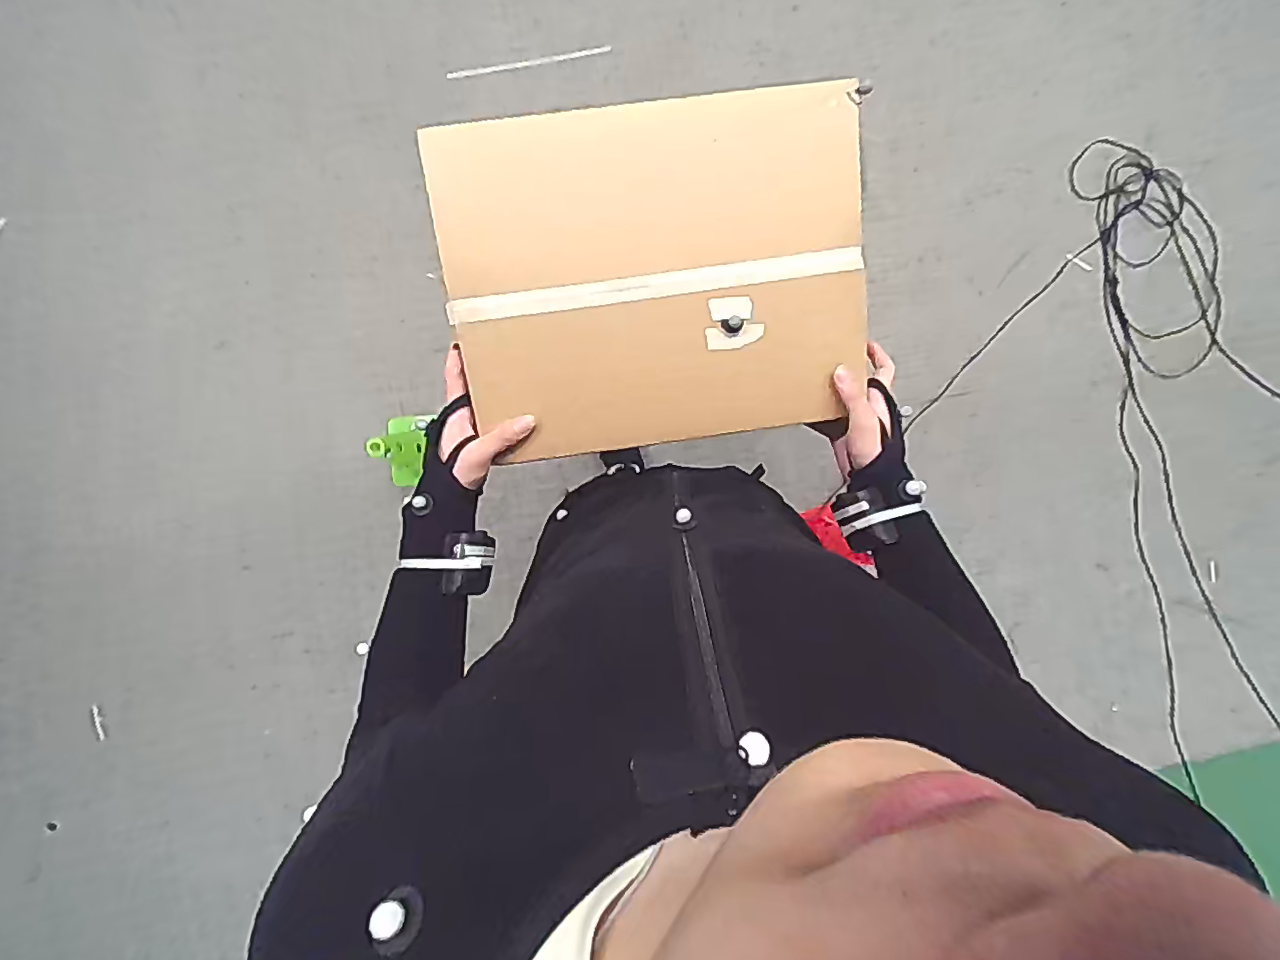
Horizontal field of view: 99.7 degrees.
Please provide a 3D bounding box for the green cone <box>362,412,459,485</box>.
[{"bbox_3d":[-0.627,-0.082,1.402,0.200,0.368,0.202,-5,94,-3],"label":"green cone"}]

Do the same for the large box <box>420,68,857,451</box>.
[{"bbox_3d":[0.003,-0.241,0.676,0.408,0.320,0.320,-8,105,-3],"label":"large box"}]
